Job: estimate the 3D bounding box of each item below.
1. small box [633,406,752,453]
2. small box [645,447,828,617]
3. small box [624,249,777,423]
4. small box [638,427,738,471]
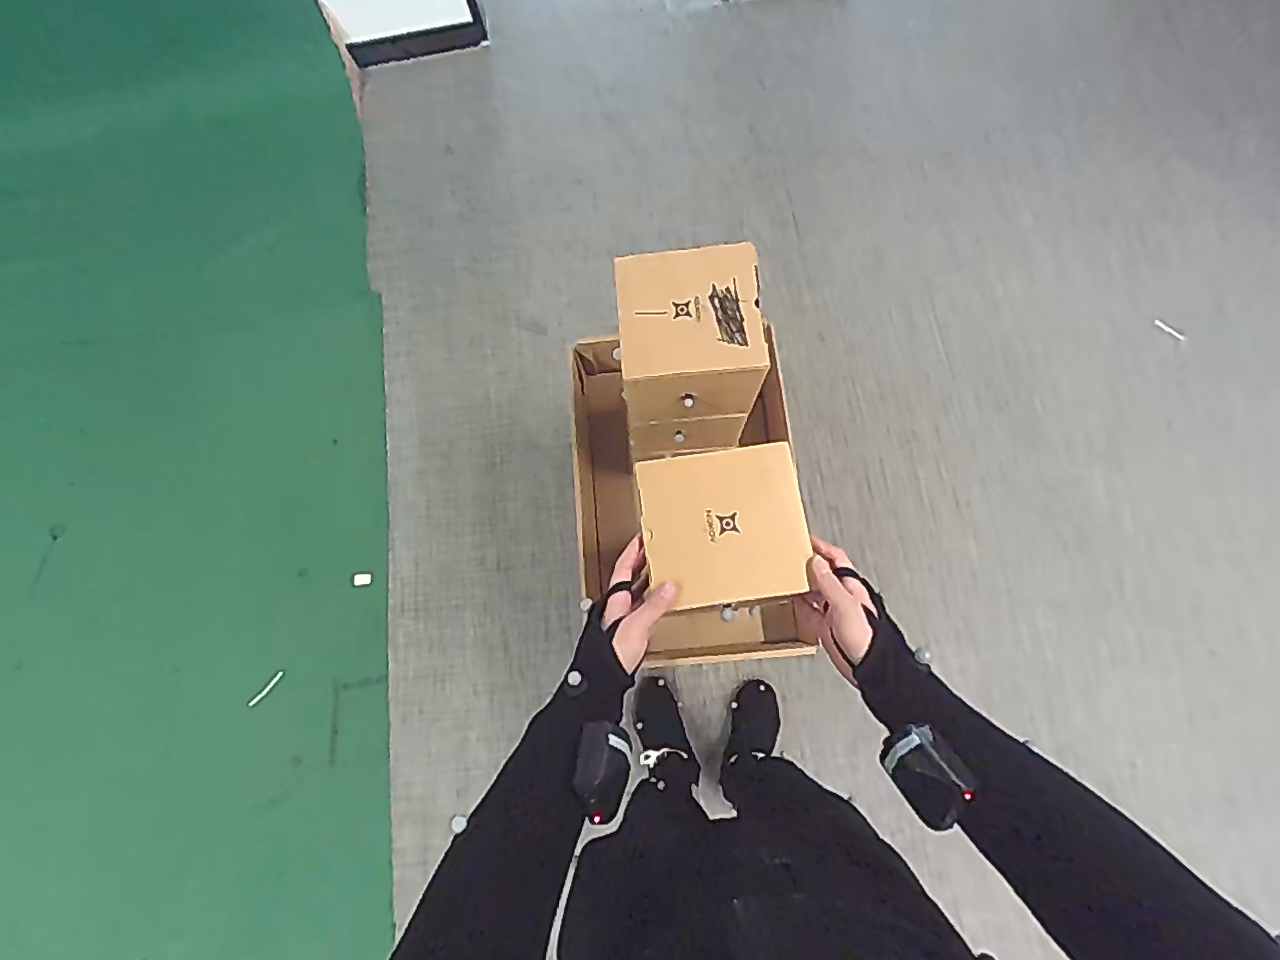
[{"bbox_3d":[0.081,-0.146,0.889,0.179,0.176,0.168,-4,78,3],"label":"small box"},{"bbox_3d":[0.102,0.071,0.653,0.179,0.176,0.168,-8,74,1],"label":"small box"},{"bbox_3d":[0.074,-0.183,0.728,0.179,0.176,0.168,-4,77,3],"label":"small box"},{"bbox_3d":[0.088,-0.106,1.047,0.179,0.176,0.168,-2,77,1],"label":"small box"}]
